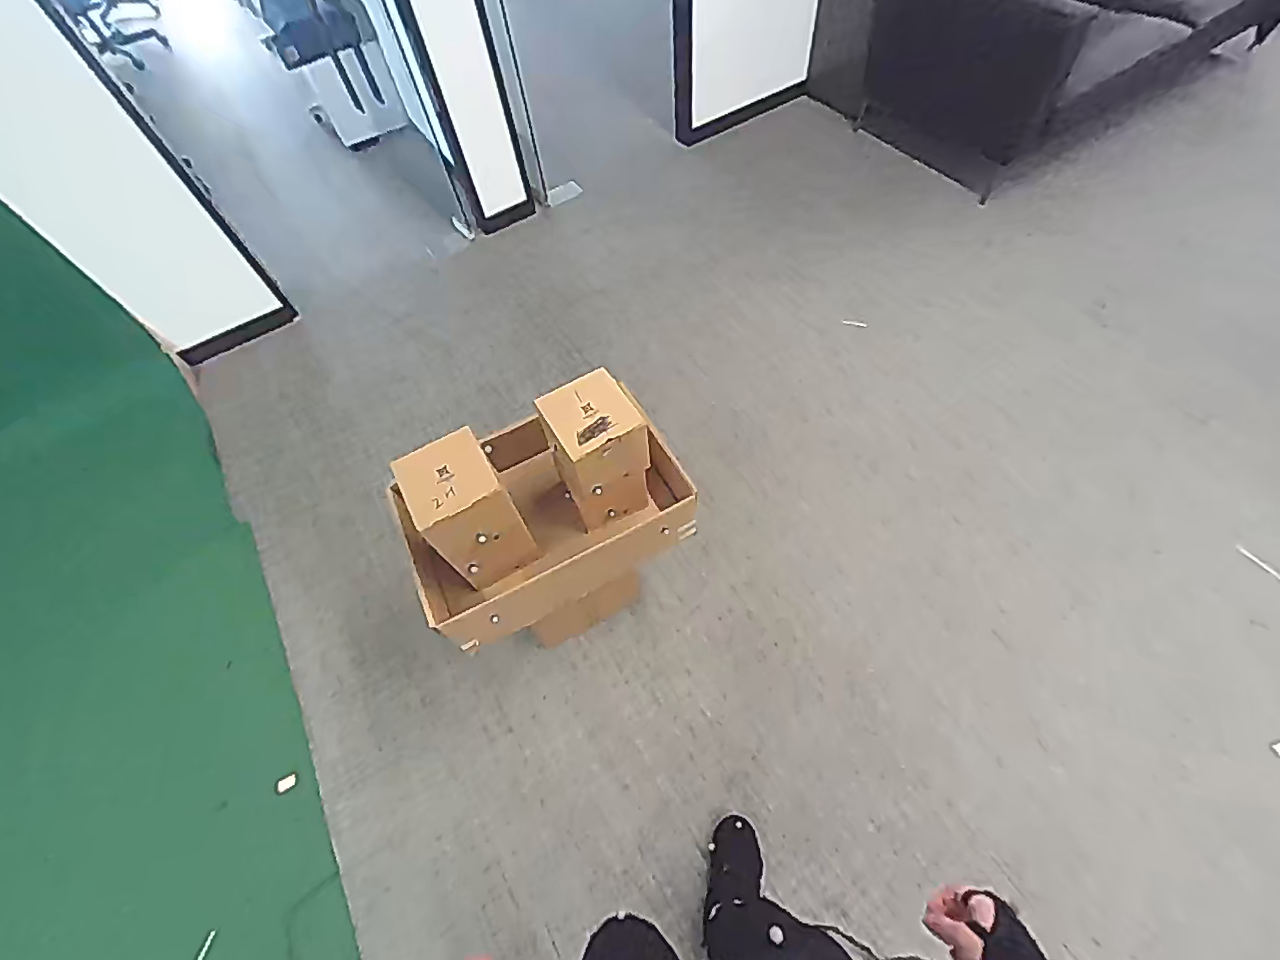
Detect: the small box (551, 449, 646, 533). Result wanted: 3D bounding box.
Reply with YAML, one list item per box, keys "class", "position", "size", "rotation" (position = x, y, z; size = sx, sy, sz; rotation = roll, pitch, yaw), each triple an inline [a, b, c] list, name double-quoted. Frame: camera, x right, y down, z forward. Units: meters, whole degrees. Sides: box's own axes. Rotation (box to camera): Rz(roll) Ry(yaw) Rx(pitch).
- class: "small box"
  position: [-0.096, -0.005, 1.276]
  size: [0.168, 0.176, 0.179]
  rotation: [-24, 61, -11]

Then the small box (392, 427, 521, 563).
- class: "small box"
  position: [-0.360, 0.034, 1.078]
  size: [0.168, 0.176, 0.179]
  rotation: [-28, 61, -12]

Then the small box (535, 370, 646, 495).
- class: "small box"
  position: [-0.096, -0.089, 1.135]
  size: [0.168, 0.176, 0.179]
  rotation: [-28, 61, -13]
